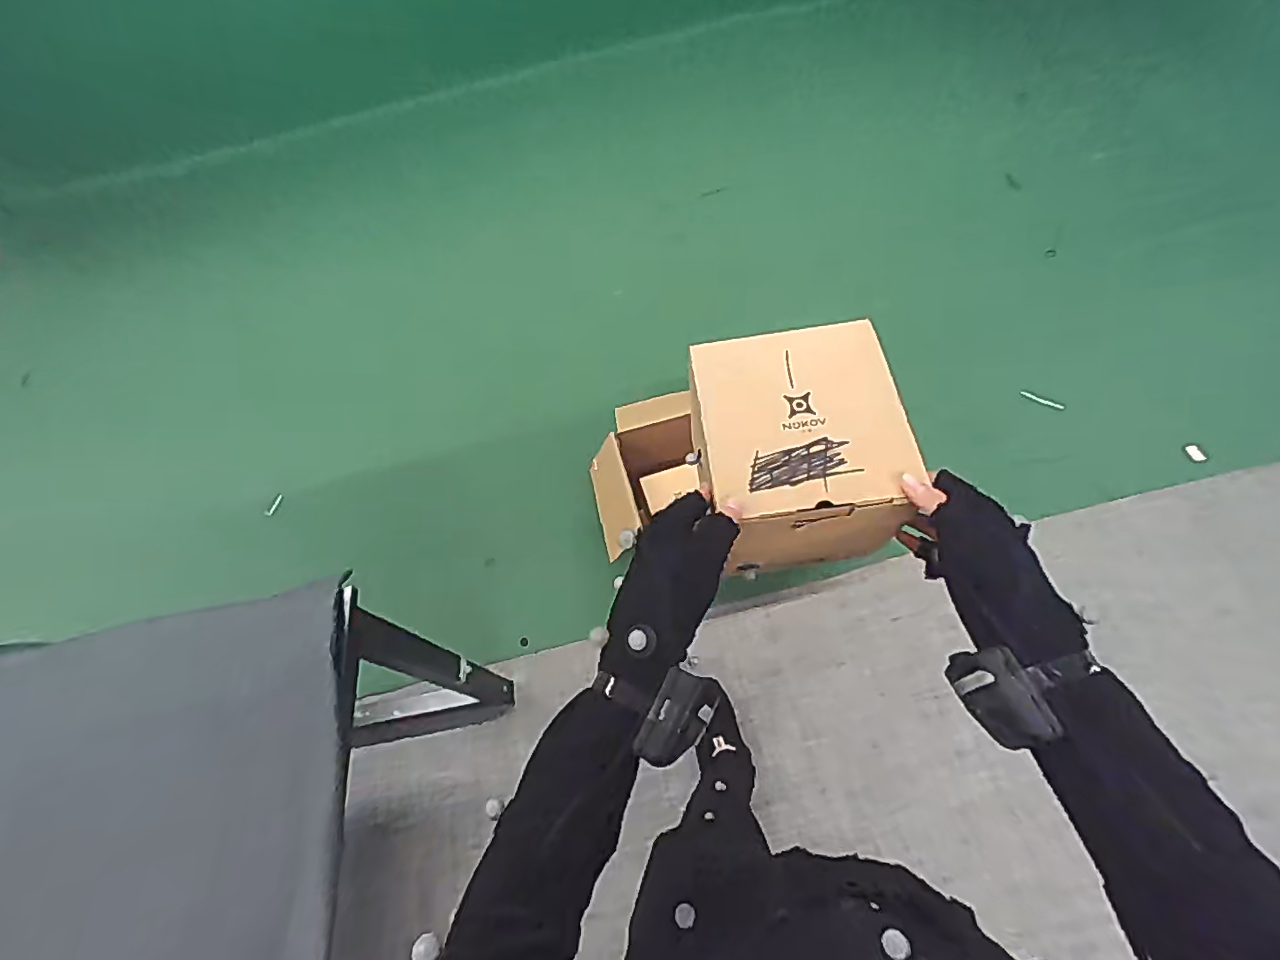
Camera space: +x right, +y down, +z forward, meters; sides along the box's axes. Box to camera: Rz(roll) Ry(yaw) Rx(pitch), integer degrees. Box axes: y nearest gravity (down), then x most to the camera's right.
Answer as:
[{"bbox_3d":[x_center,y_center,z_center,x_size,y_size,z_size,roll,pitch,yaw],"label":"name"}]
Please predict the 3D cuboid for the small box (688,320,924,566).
[{"bbox_3d":[0.142,-0.022,0.527,0.168,0.176,0.179,-8,64,3],"label":"small box"}]
